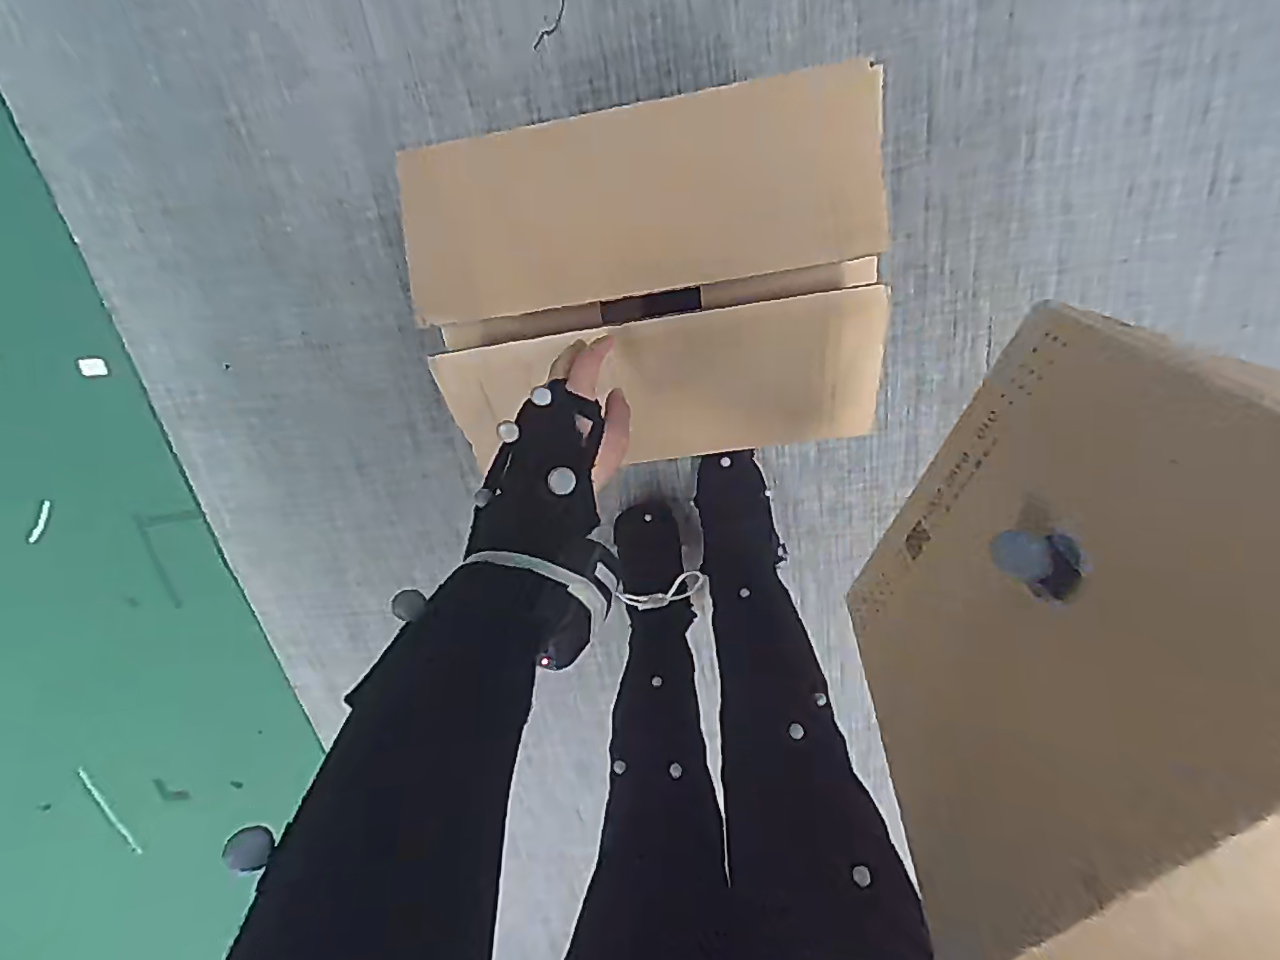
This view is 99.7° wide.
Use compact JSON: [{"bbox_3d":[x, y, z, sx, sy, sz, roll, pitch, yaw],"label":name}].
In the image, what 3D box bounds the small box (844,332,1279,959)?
[{"bbox_3d":[0.195,0.062,0.188,0.179,0.176,0.168,17,121,-1],"label":"small box"}]
